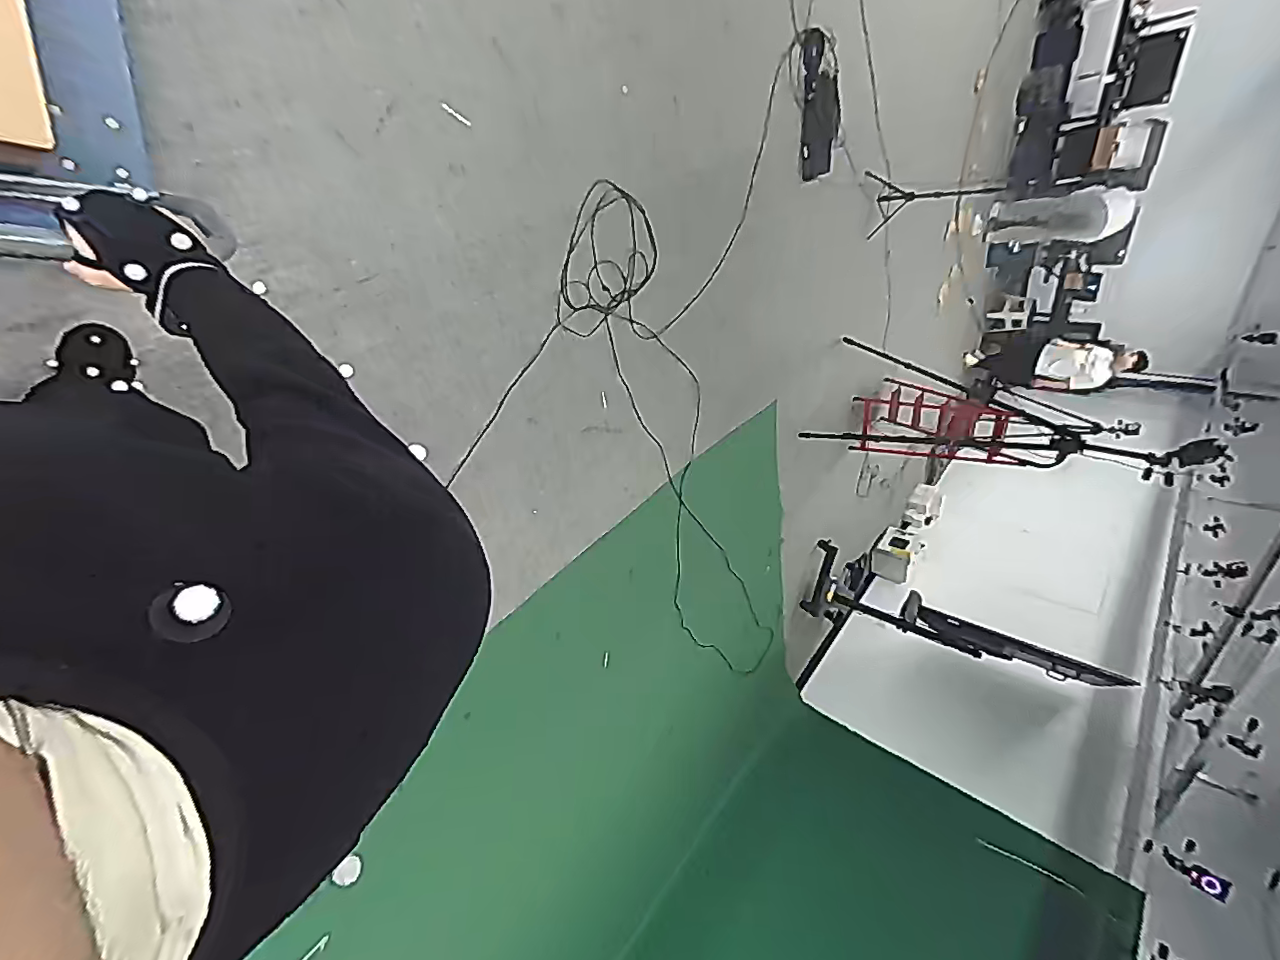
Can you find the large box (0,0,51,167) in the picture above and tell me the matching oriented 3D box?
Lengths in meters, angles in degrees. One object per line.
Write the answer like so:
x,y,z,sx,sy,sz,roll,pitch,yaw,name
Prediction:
-1.008,-0.652,0.666,0.320,0.320,0.408,-16,117,-46,large box
